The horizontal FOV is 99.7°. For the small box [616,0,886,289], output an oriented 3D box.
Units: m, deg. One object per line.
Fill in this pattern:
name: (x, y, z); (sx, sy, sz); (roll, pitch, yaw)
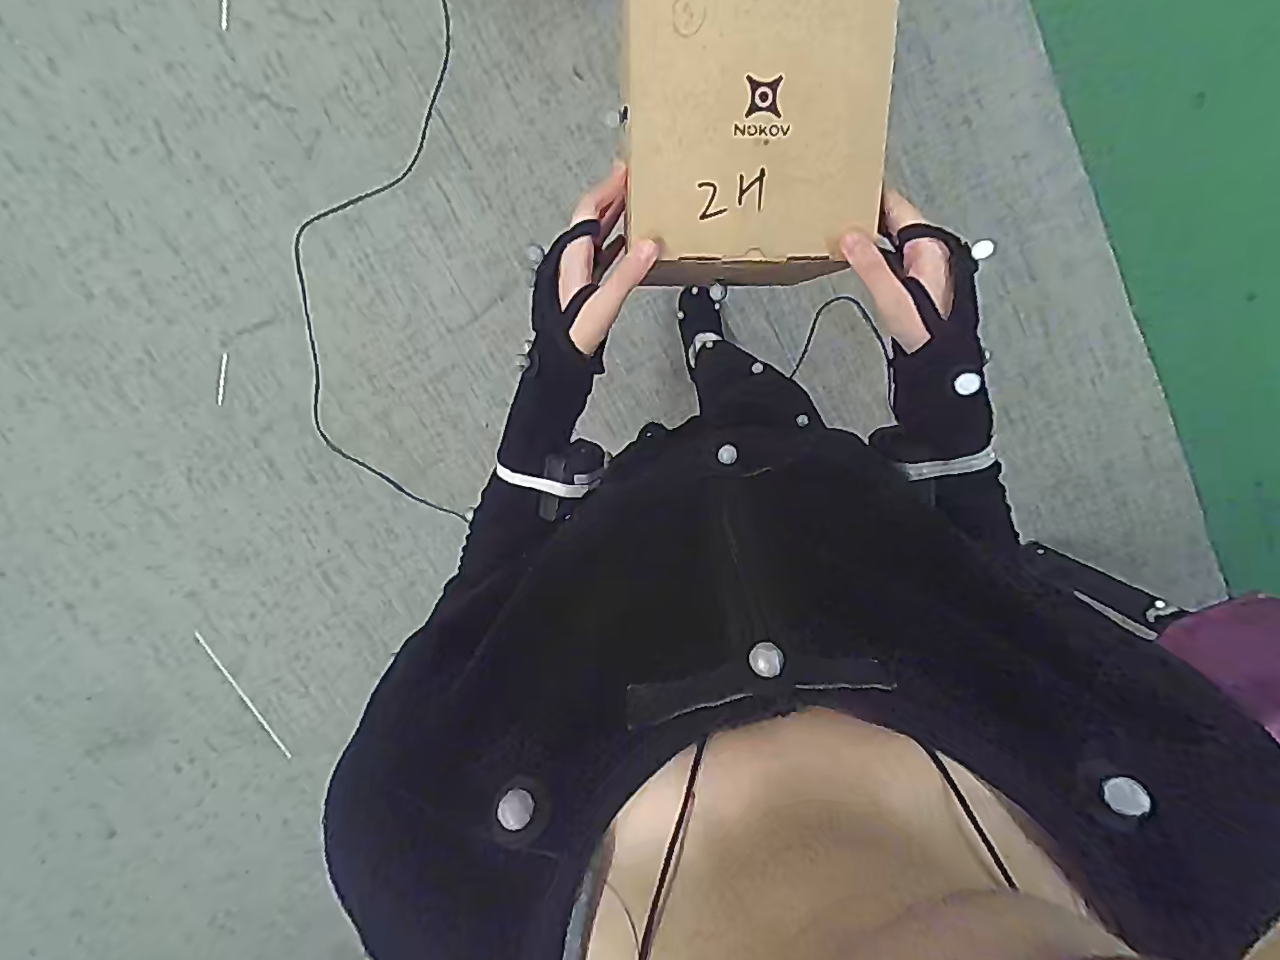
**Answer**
small box: (0.065, -0.252, 0.424); (0.168, 0.176, 0.179); (-1, 105, -3)
